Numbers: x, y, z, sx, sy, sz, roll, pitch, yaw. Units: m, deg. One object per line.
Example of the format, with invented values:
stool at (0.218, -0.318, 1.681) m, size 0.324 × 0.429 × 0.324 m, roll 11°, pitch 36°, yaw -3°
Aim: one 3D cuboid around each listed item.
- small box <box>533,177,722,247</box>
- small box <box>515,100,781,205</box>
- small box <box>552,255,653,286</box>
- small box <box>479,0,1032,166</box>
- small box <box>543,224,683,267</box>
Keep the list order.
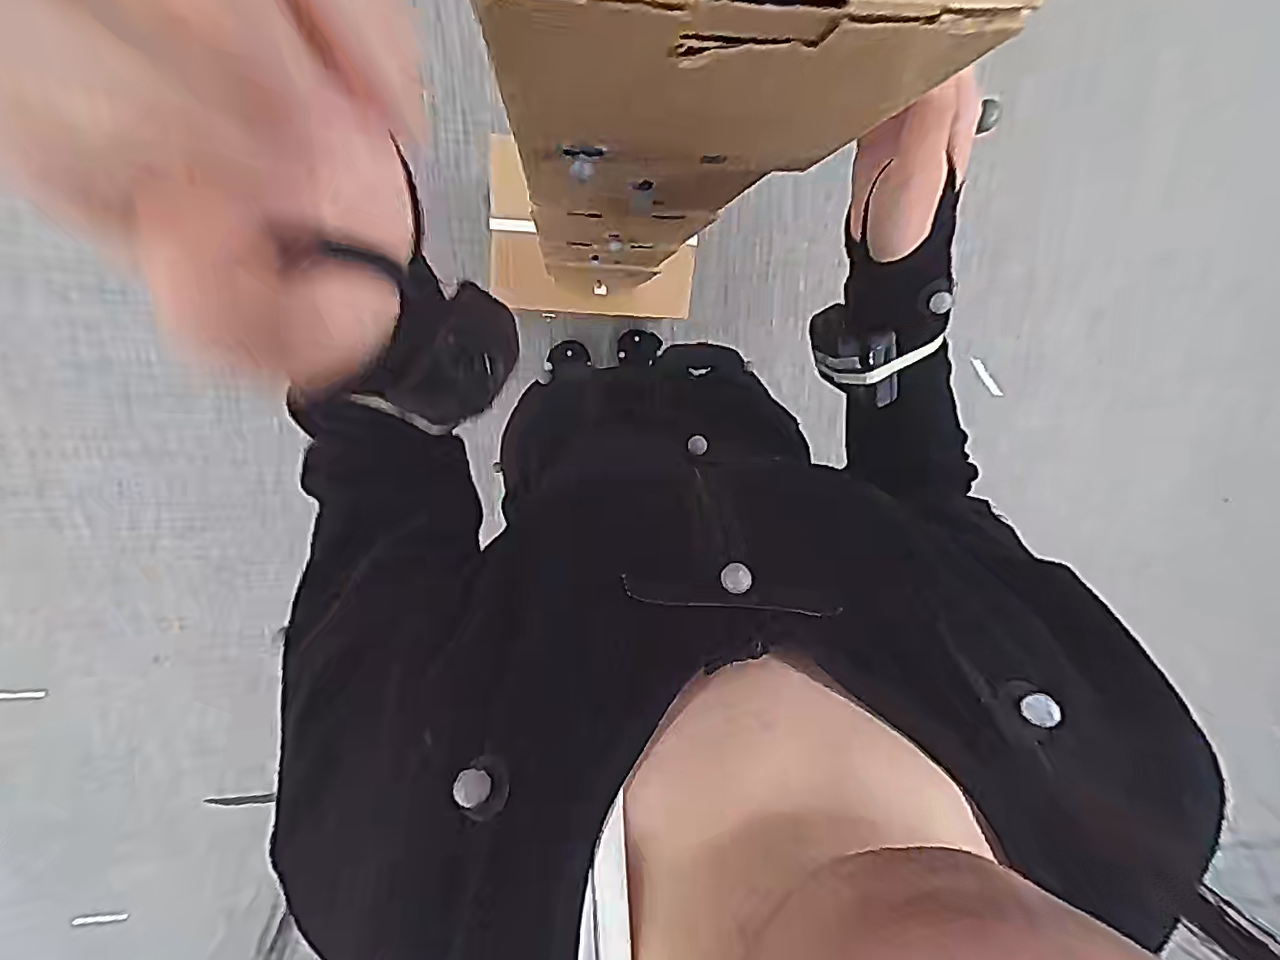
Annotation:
small box at (-0.018, -0.332, 0.519) m, size 0.168 × 0.176 × 0.179 m, roll -2°, pitch 107°, yaw -6°
small box at (0.003, -0.293, 0.362) m, size 0.168 × 0.176 × 0.179 m, roll -3°, pitch 108°, yaw -7°
small box at (-0.071, -0.449, 0.993) m, size 0.179 × 0.176 × 0.168 m, roll -1°, pitch 107°, yaw -8°
small box at (0.027, -0.237, 0.208) m, size 0.168 × 0.176 × 0.179 m, roll -3°, pitch 106°, yaw -7°
small box at (-0.038, -0.373, 0.677) m, size 0.168 × 0.176 × 0.179 m, roll -1°, pitch 106°, yaw -7°
